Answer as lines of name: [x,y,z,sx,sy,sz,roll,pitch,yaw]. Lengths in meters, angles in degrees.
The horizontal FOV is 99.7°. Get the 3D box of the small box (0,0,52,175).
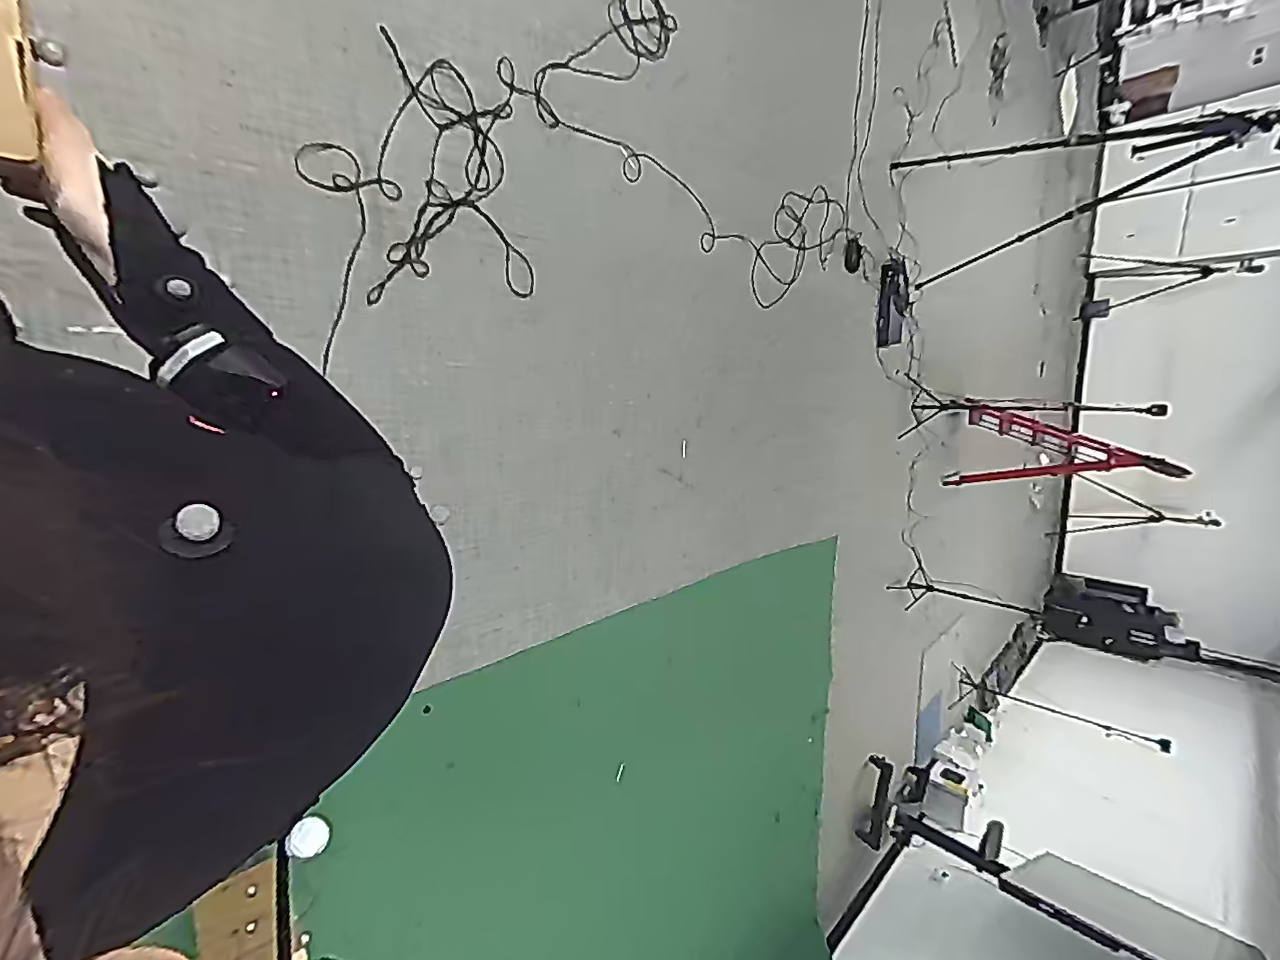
small box: [-0.450,-0.273,0.281,0.179,0.176,0.168,-8,114,-44]

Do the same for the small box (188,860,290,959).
small box: [-0.954,1.053,1.285,0.168,0.176,0.179,-9,104,-44]
